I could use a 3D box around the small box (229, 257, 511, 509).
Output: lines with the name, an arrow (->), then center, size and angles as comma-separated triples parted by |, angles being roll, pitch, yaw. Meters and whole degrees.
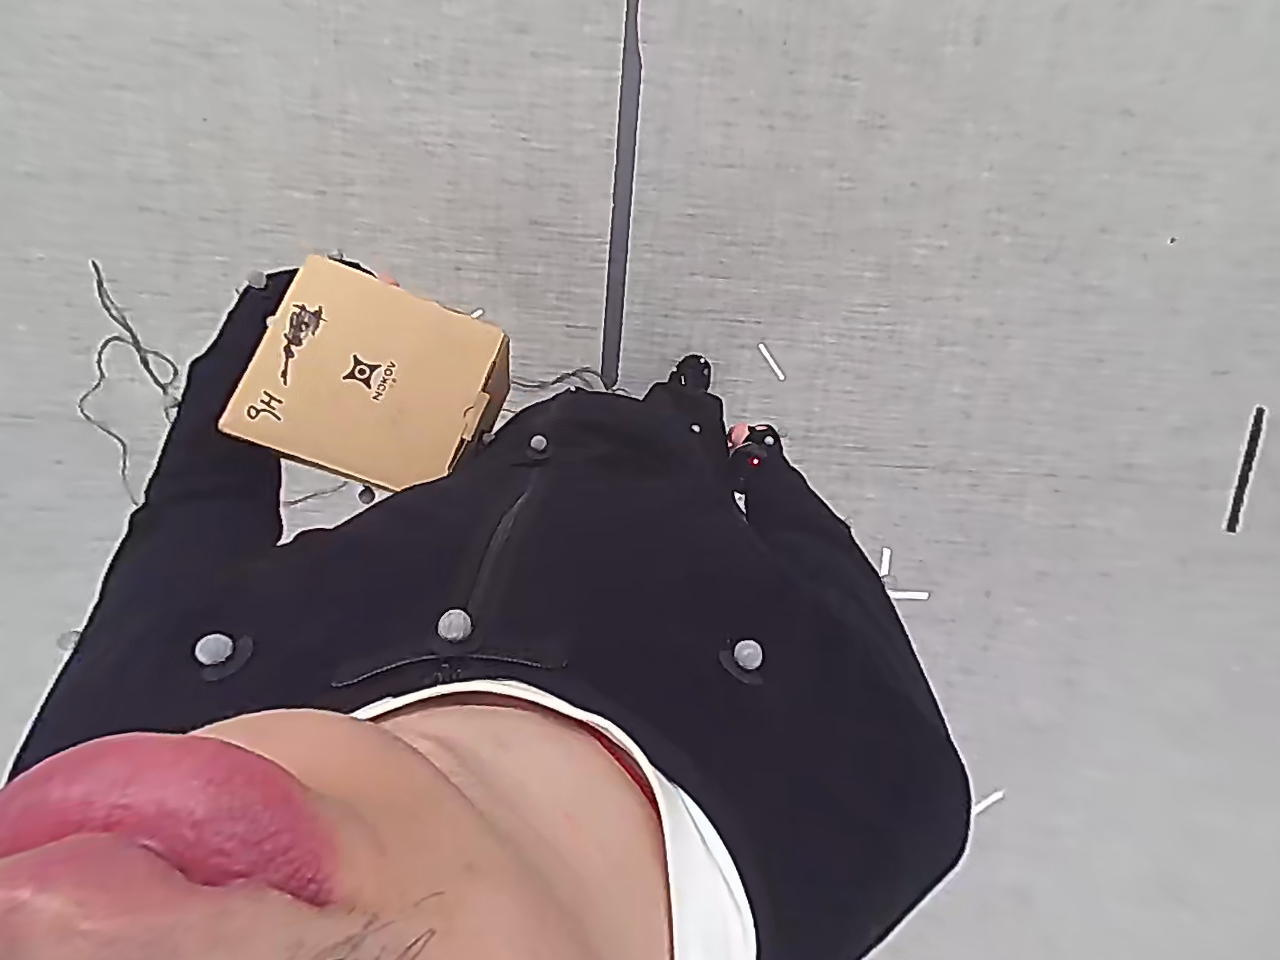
small box -> -0.240, -0.076, 0.534 | 0.179, 0.176, 0.168 | 21, 78, -10
